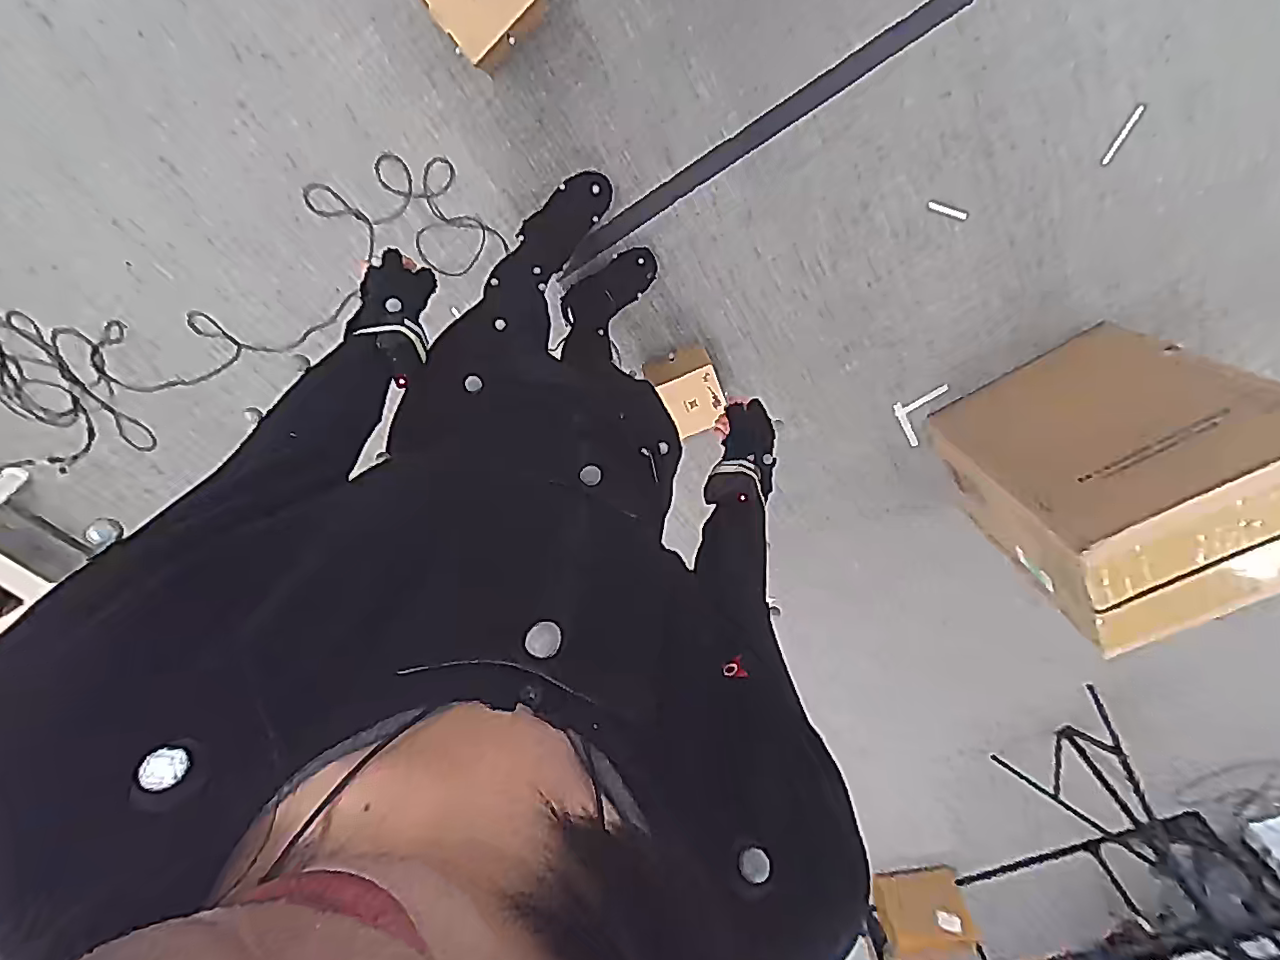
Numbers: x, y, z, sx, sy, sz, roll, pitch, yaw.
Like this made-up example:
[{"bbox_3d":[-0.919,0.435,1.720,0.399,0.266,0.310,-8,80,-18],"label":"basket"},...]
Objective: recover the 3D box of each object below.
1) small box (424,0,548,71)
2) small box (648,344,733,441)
[{"bbox_3d":[-0.285,-0.893,0.990,0.179,0.176,0.168,-35,119,17],"label":"small box"},{"bbox_3d":[0.128,-0.234,1.432,0.179,0.176,0.168,-21,121,10],"label":"small box"}]
